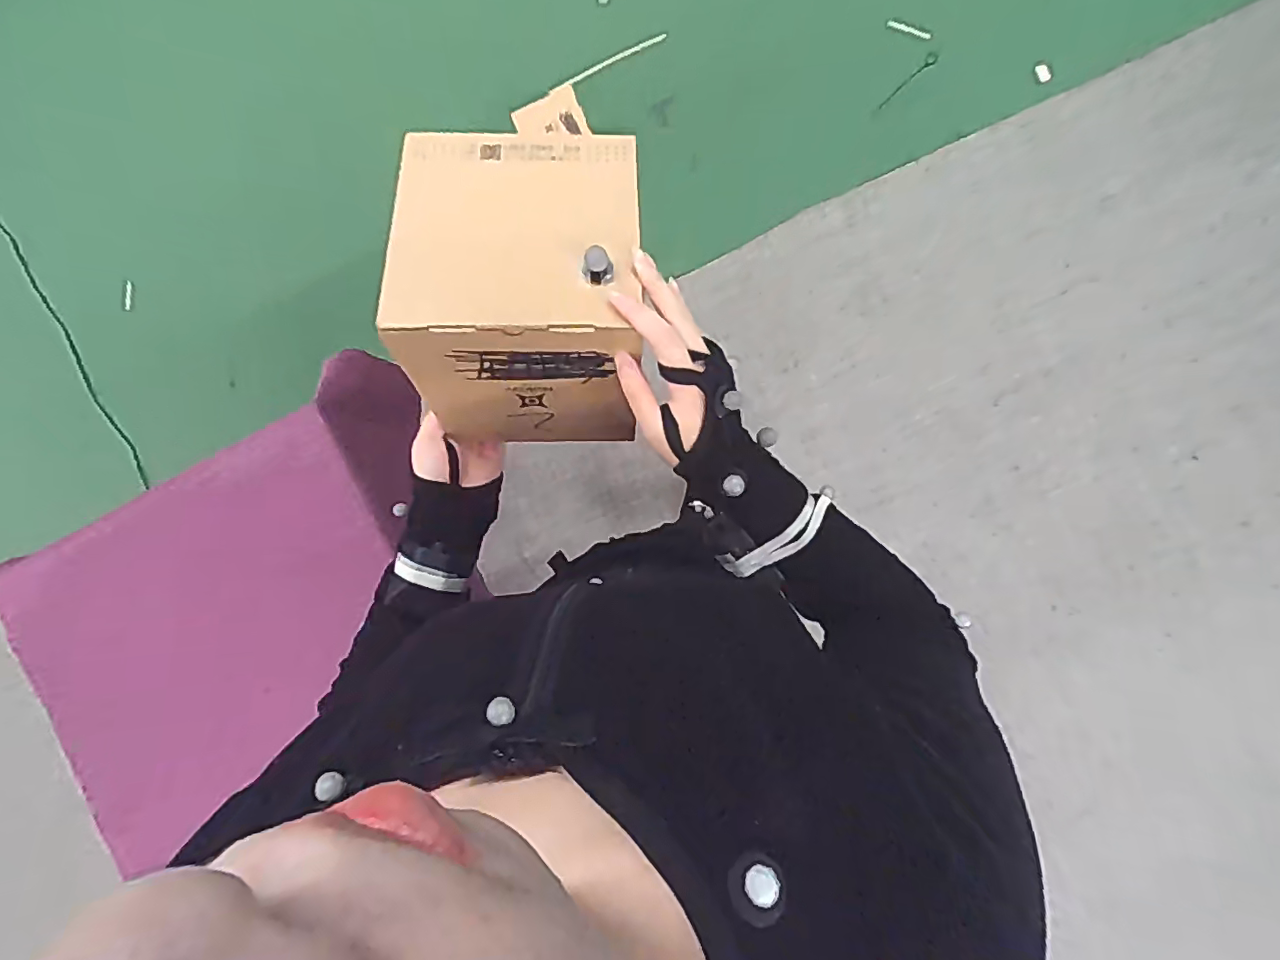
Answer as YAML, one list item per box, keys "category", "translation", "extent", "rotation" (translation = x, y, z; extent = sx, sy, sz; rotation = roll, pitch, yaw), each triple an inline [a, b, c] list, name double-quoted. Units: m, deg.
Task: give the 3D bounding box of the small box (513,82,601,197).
- category: "small box"
  translation: [-0.214, -0.911, 1.461]
  extent: [0.179, 0.176, 0.168]
  rotation: [-22, 87, 5]
